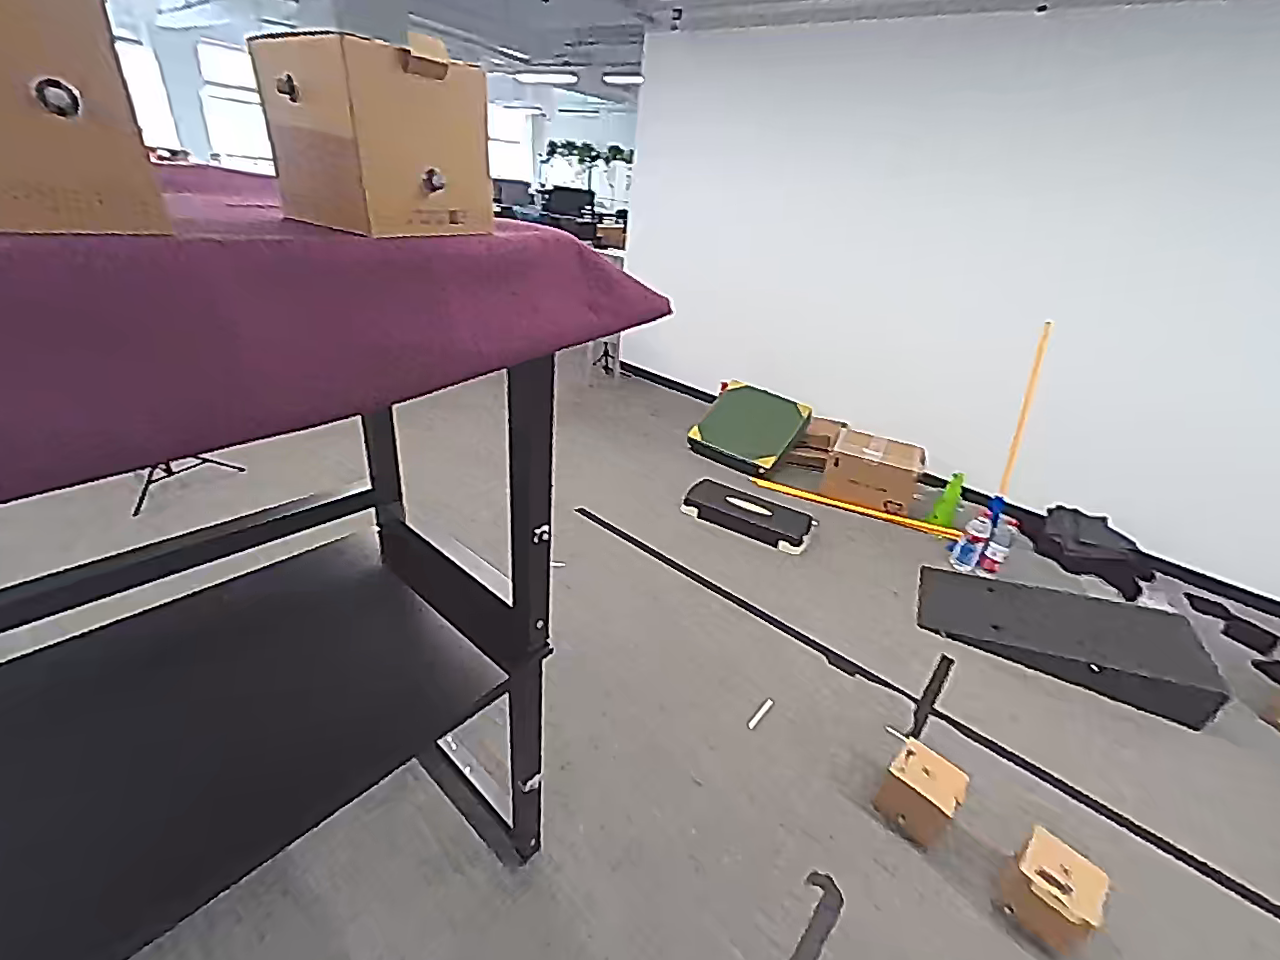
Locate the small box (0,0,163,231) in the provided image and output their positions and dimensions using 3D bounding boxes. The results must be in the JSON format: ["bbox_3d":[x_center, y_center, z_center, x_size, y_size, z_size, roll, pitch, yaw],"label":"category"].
[{"bbox_3d":[-0.491,-0.283,0.398,0.168,0.176,0.179,29,36,36],"label":"small box"}]

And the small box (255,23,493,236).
[{"bbox_3d":[-0.284,-0.375,0.602,0.179,0.176,0.168,23,33,28],"label":"small box"}]

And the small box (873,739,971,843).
[{"bbox_3d":[0.813,0.906,1.568,0.168,0.176,0.179,-21,40,-40],"label":"small box"}]

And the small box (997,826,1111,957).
[{"bbox_3d":[1.044,1.046,1.374,0.179,0.176,0.168,-19,39,-40],"label":"small box"}]
